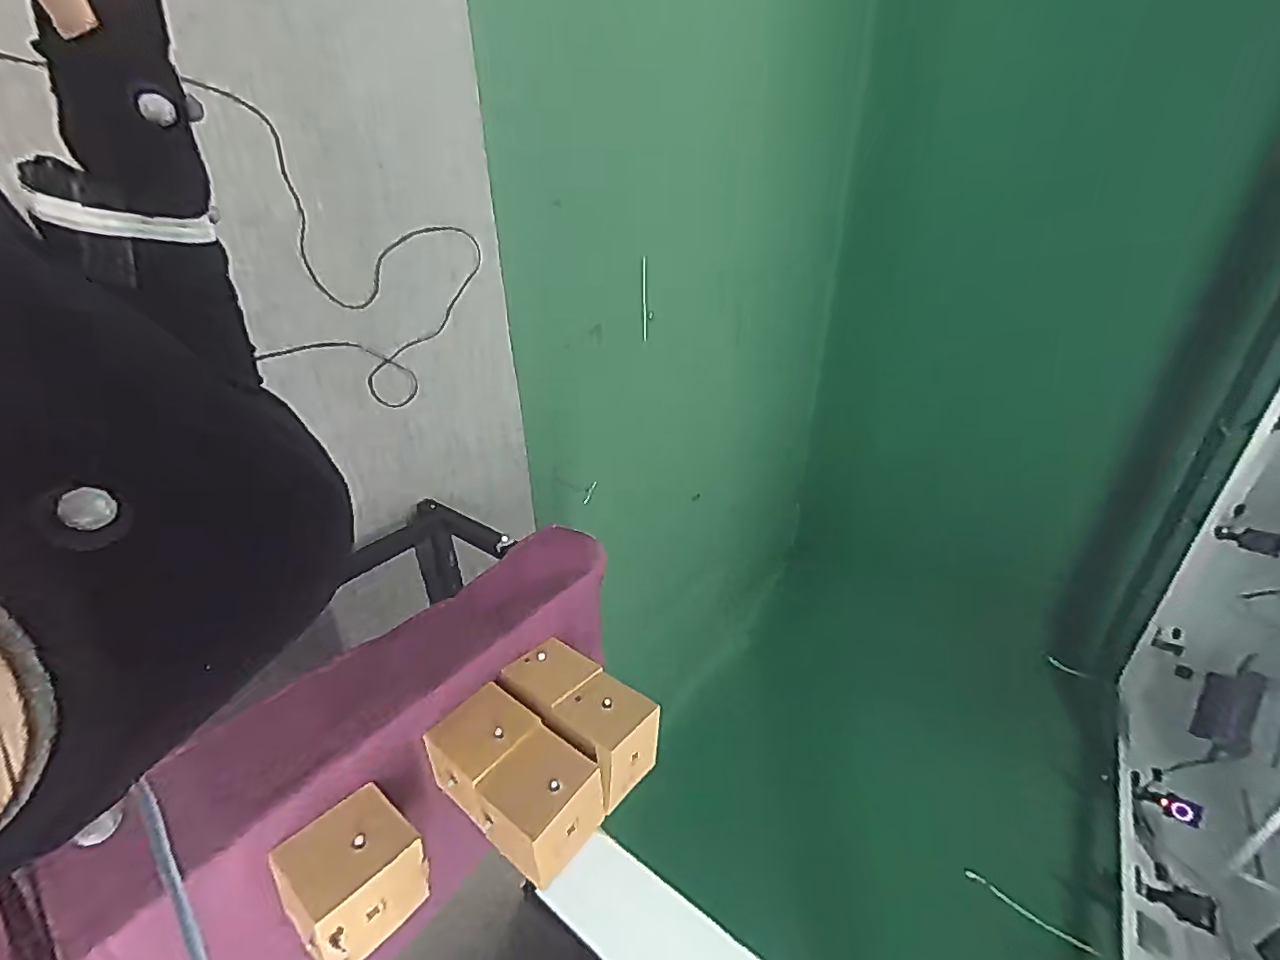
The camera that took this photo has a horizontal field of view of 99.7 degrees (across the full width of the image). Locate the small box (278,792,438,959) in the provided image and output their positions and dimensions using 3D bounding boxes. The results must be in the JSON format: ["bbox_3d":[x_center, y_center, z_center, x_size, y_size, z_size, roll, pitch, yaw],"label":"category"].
[{"bbox_3d":[-0.478,0.688,0.929,0.179,0.176,0.168,-26,125,-49],"label":"small box"}]
